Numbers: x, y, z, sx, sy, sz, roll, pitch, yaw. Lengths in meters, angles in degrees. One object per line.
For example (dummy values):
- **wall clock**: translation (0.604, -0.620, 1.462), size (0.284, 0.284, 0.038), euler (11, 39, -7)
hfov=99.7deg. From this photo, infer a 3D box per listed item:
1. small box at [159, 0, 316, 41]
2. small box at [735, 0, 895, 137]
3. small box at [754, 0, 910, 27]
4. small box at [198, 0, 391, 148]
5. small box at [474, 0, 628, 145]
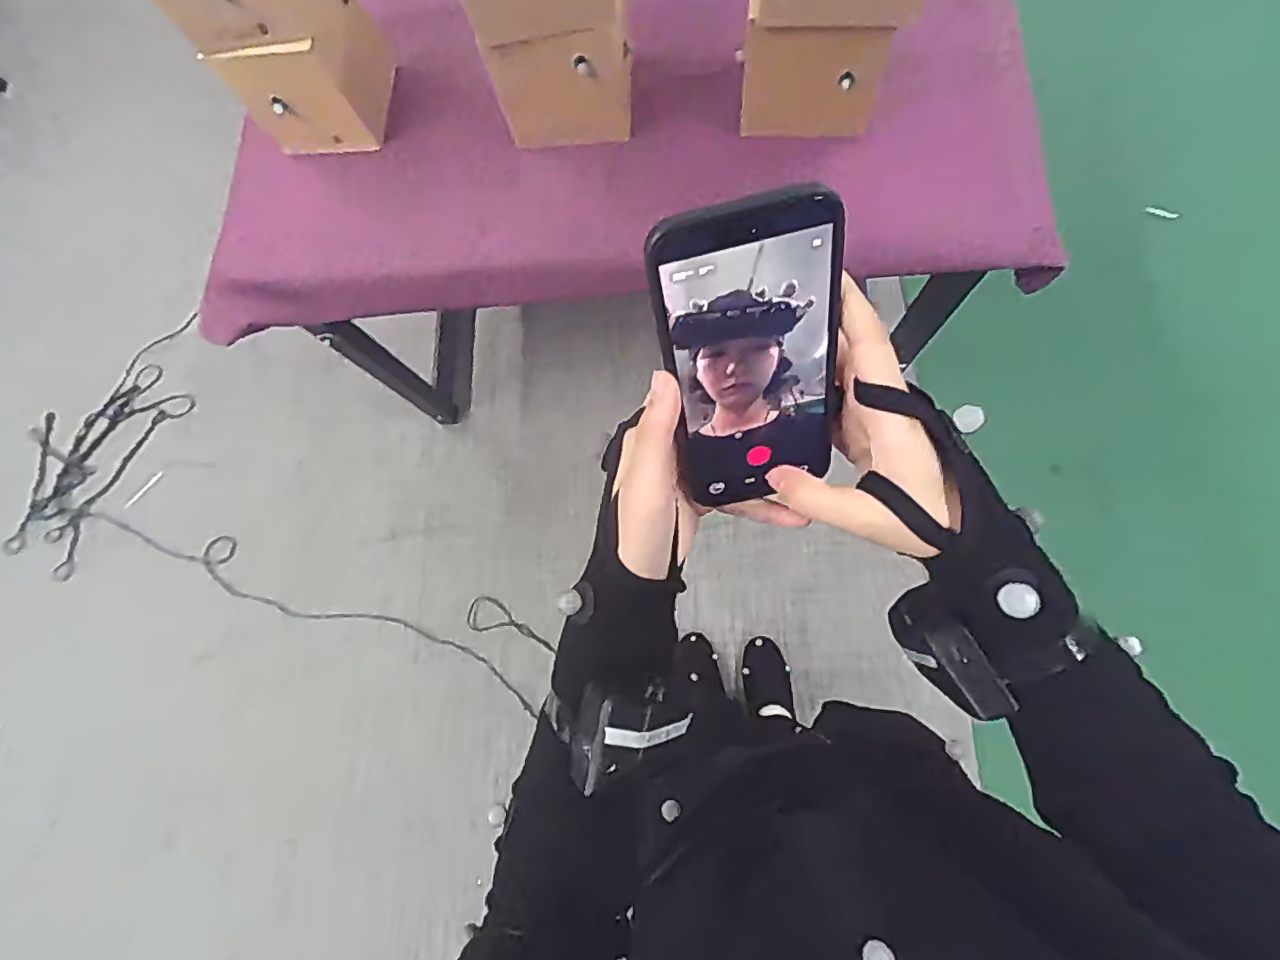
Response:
- **small box**: translation (-0.517, -0.674, 0.652), size (0.168, 0.176, 0.179), euler (-4, 77, 5)
- **small box**: translation (0.227, -0.592, 0.722), size (0.179, 0.176, 0.168), euler (6, 77, 8)
- **small box**: translation (0.217, -0.614, 0.559), size (0.179, 0.176, 0.168), euler (6, 77, 7)
- **small box**: translation (-0.499, -0.628, 0.809), size (0.168, 0.176, 0.179), euler (1, 77, 6)
- **small box**: translation (-0.112, -0.607, 0.760), size (0.179, 0.176, 0.168), euler (0, 77, 6)
